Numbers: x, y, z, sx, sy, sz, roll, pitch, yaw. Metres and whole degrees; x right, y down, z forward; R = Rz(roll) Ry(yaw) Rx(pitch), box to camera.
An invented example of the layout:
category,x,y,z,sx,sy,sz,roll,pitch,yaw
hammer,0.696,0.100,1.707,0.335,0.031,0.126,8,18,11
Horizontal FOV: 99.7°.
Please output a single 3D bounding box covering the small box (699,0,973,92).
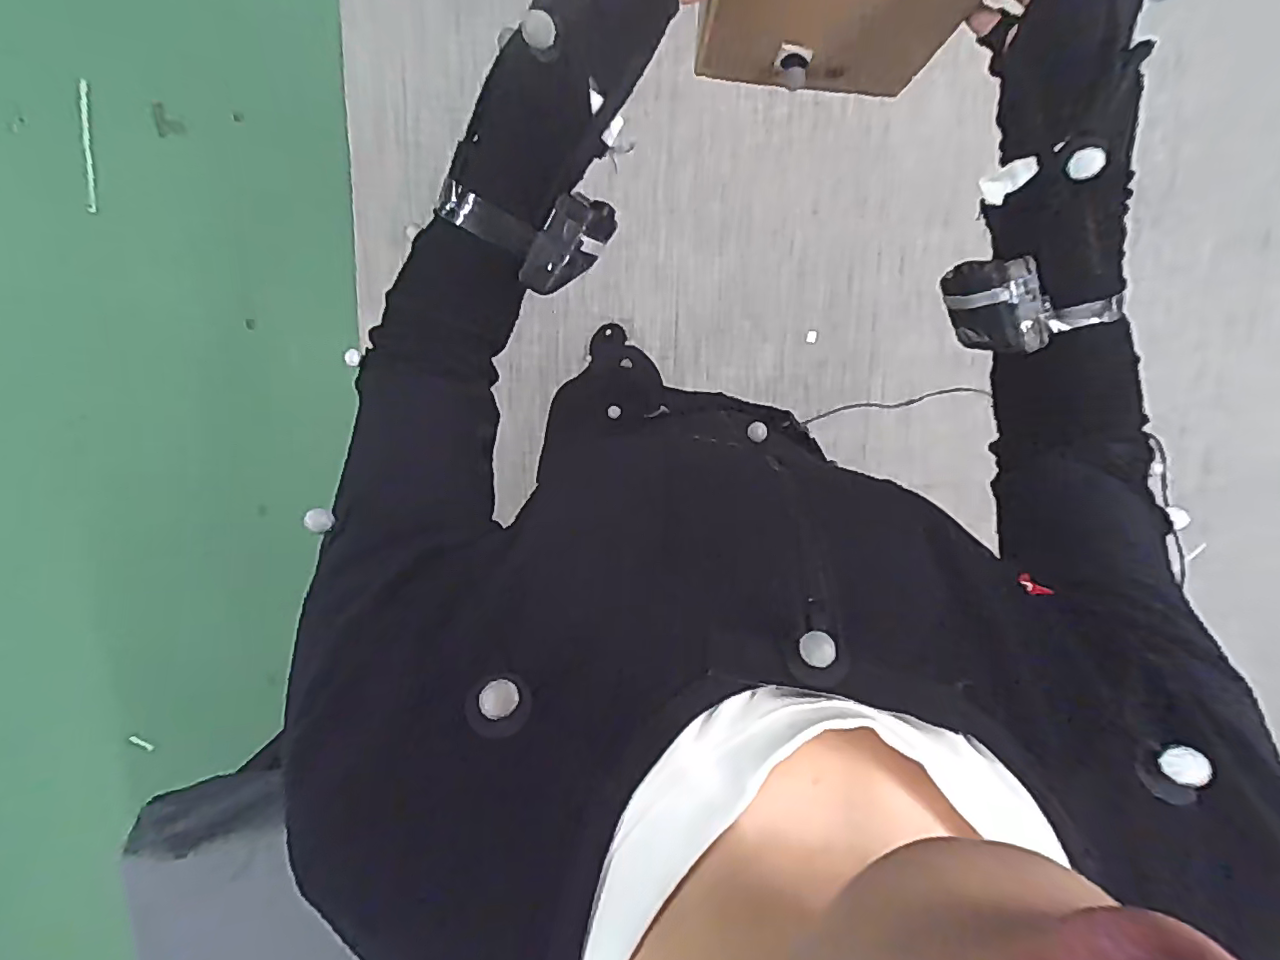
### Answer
category,x,y,z,sx,sy,sz,roll,pitch,yaw
small box,0.133,-0.388,0.334,0.168,0.176,0.179,4,99,-2
